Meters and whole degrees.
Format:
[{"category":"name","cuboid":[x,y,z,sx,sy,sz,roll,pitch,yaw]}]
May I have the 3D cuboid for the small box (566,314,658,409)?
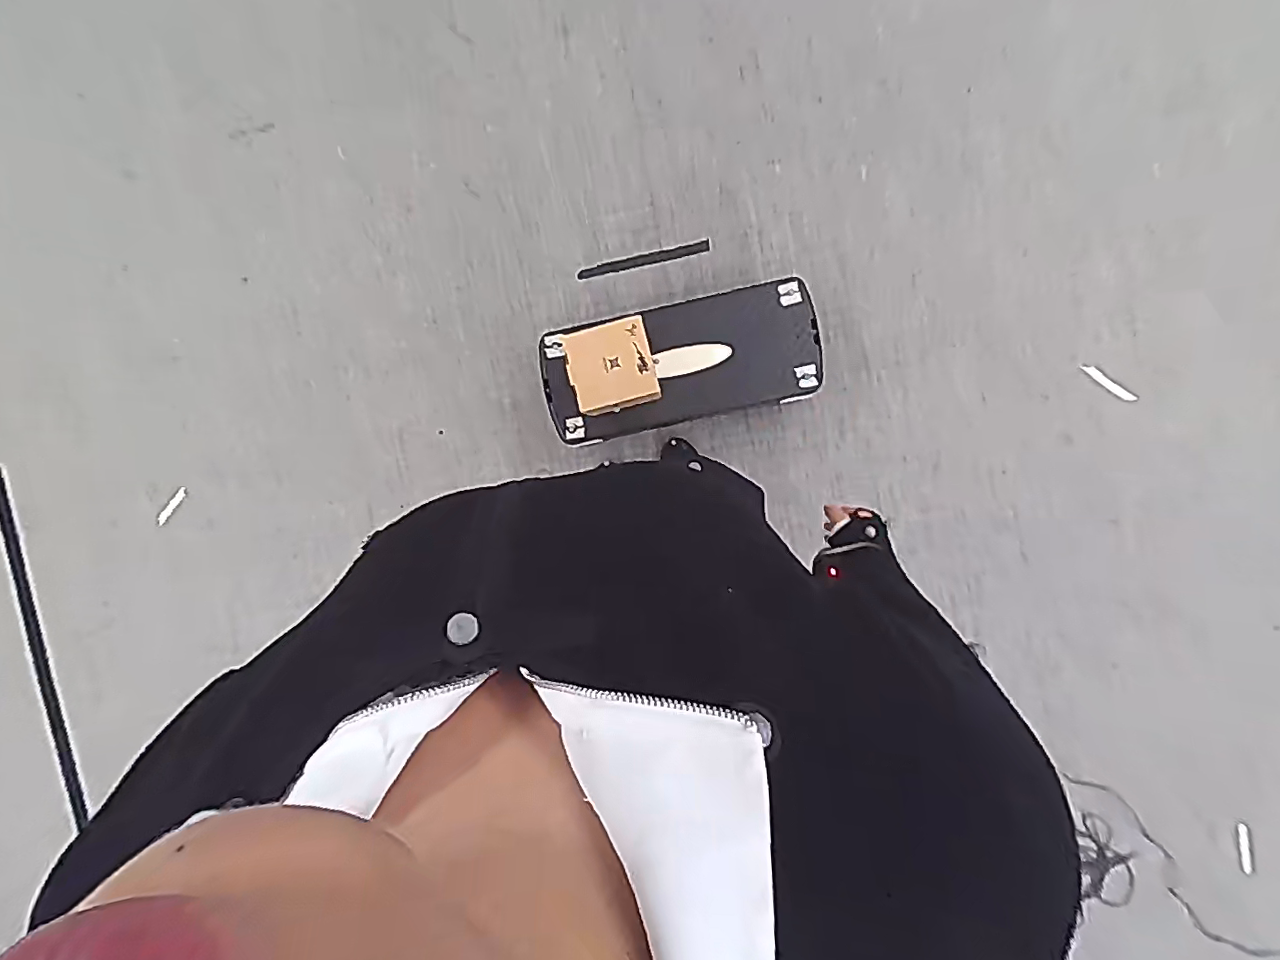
[{"category":"small box","cuboid":[-0.059,-0.253,1.211,0.179,0.176,0.168,-14,94,4]}]
